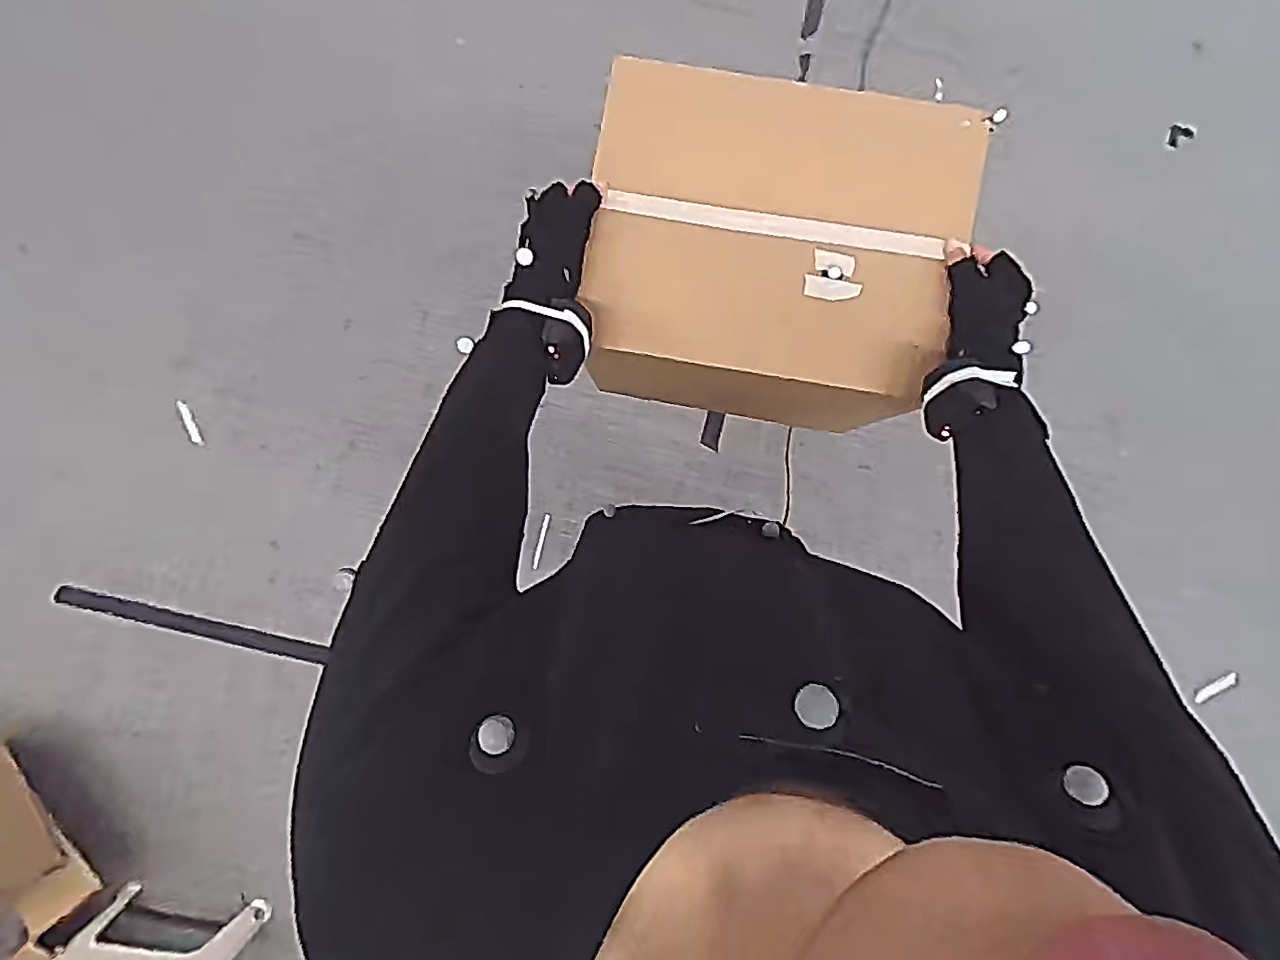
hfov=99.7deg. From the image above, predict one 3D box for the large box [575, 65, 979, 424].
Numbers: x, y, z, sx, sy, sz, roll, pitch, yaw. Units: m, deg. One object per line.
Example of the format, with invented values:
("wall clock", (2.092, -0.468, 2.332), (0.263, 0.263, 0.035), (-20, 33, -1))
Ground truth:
("large box", (0.149, -0.272, 0.733), (0.408, 0.320, 0.320), (10, 90, 1))
